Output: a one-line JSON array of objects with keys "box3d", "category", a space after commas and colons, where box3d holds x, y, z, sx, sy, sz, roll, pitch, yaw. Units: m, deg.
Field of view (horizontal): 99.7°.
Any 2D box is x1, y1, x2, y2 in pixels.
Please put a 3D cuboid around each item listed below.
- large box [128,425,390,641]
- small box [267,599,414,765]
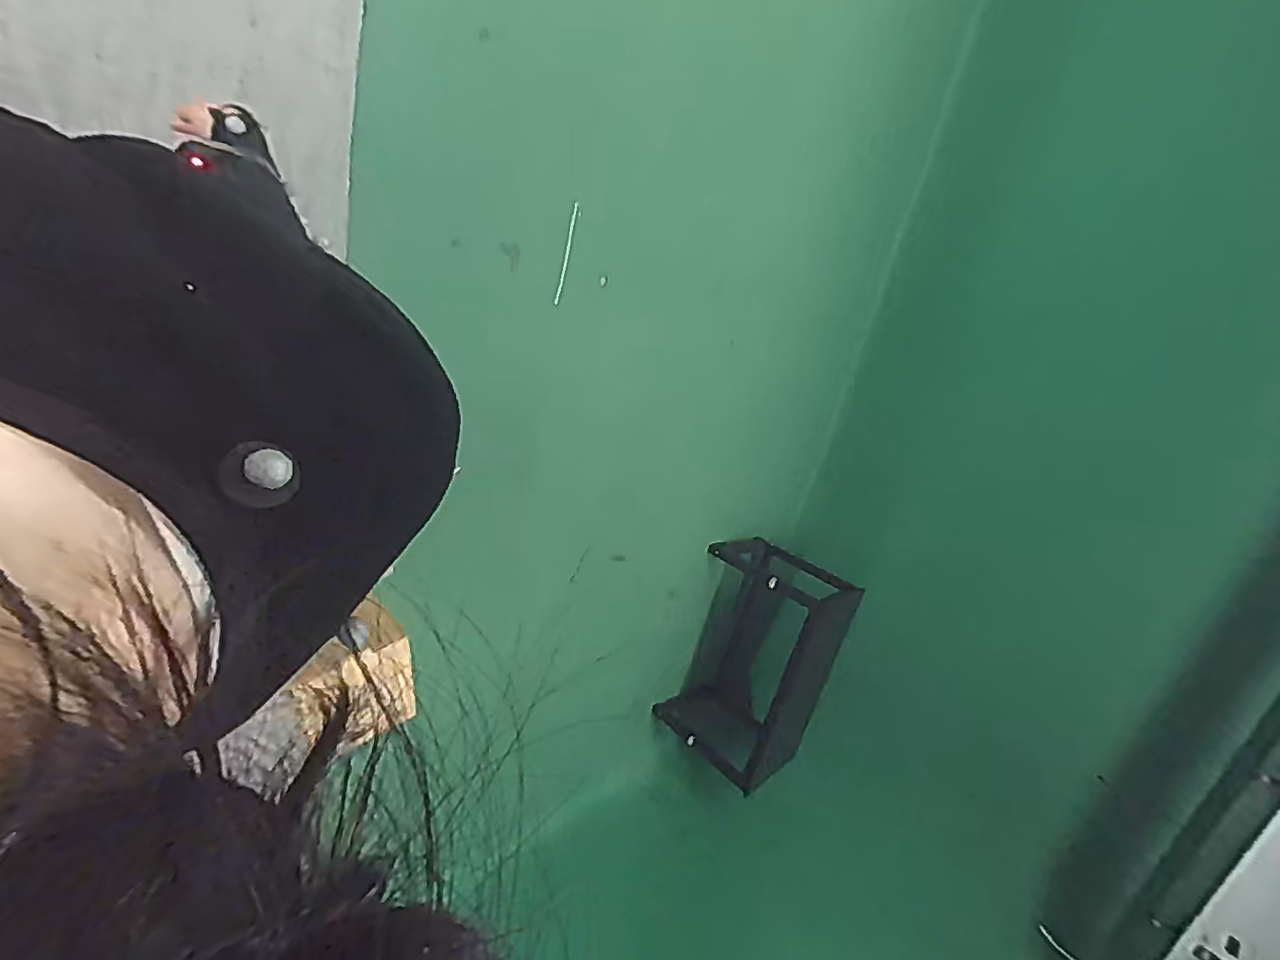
[{"box3d": [-0.876, 0.094, 1.278, 0.408, 0.320, 0.320, -22, 128, -41], "category": "large box"}, {"box3d": [-0.501, 0.321, 0.908, 0.168, 0.176, 0.179, -17, 122, -42], "category": "small box"}]
